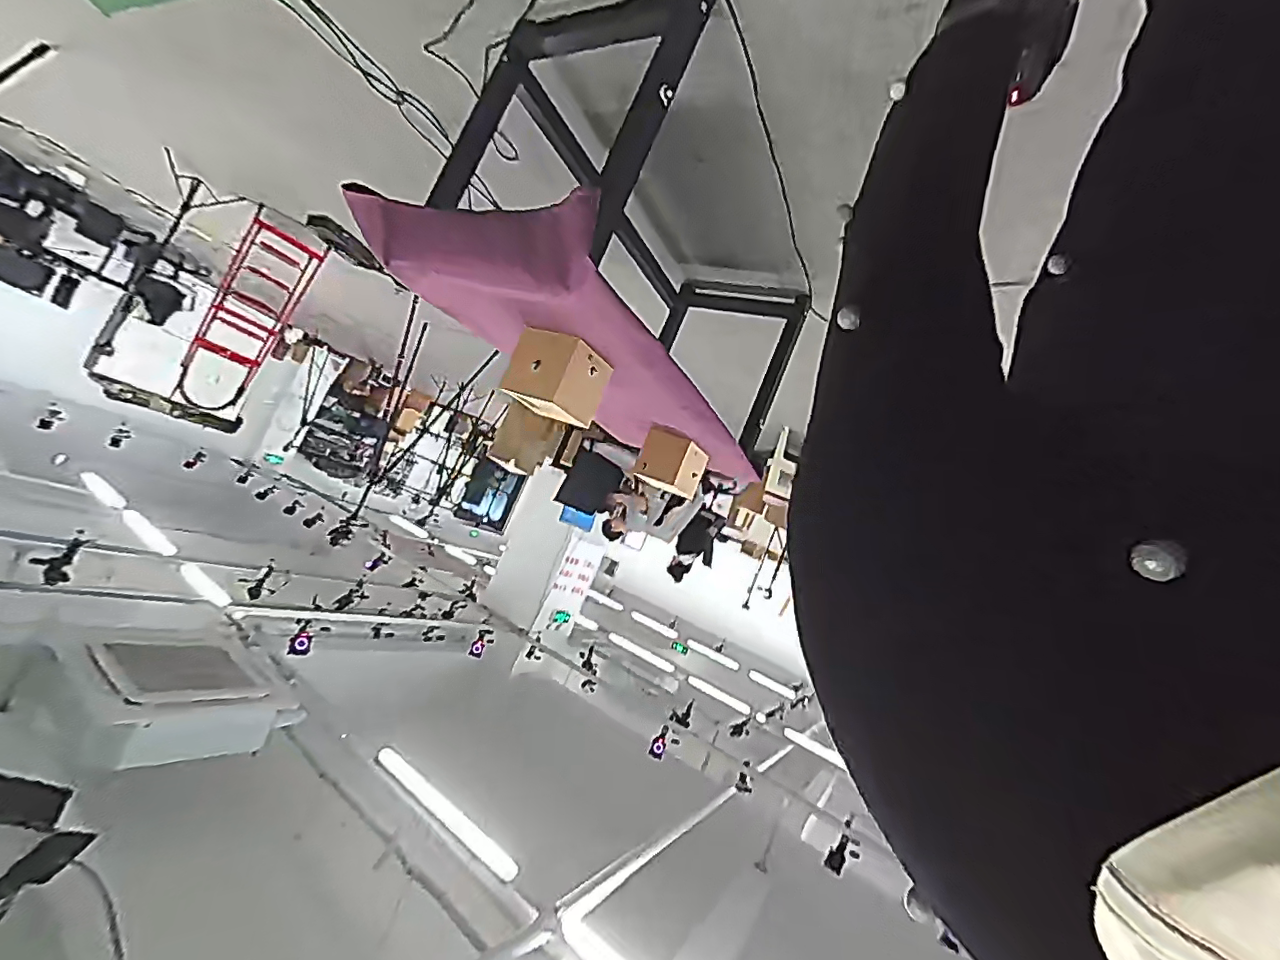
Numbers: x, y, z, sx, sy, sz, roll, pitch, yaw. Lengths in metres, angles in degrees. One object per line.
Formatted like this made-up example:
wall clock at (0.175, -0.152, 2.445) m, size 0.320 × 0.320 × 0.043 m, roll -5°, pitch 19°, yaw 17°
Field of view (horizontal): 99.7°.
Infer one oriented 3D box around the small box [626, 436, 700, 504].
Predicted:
small box at (0.087, -0.038, 1.846) m, size 0.179 × 0.176 × 0.168 m, roll 19°, pitch 172°, yaw 32°
